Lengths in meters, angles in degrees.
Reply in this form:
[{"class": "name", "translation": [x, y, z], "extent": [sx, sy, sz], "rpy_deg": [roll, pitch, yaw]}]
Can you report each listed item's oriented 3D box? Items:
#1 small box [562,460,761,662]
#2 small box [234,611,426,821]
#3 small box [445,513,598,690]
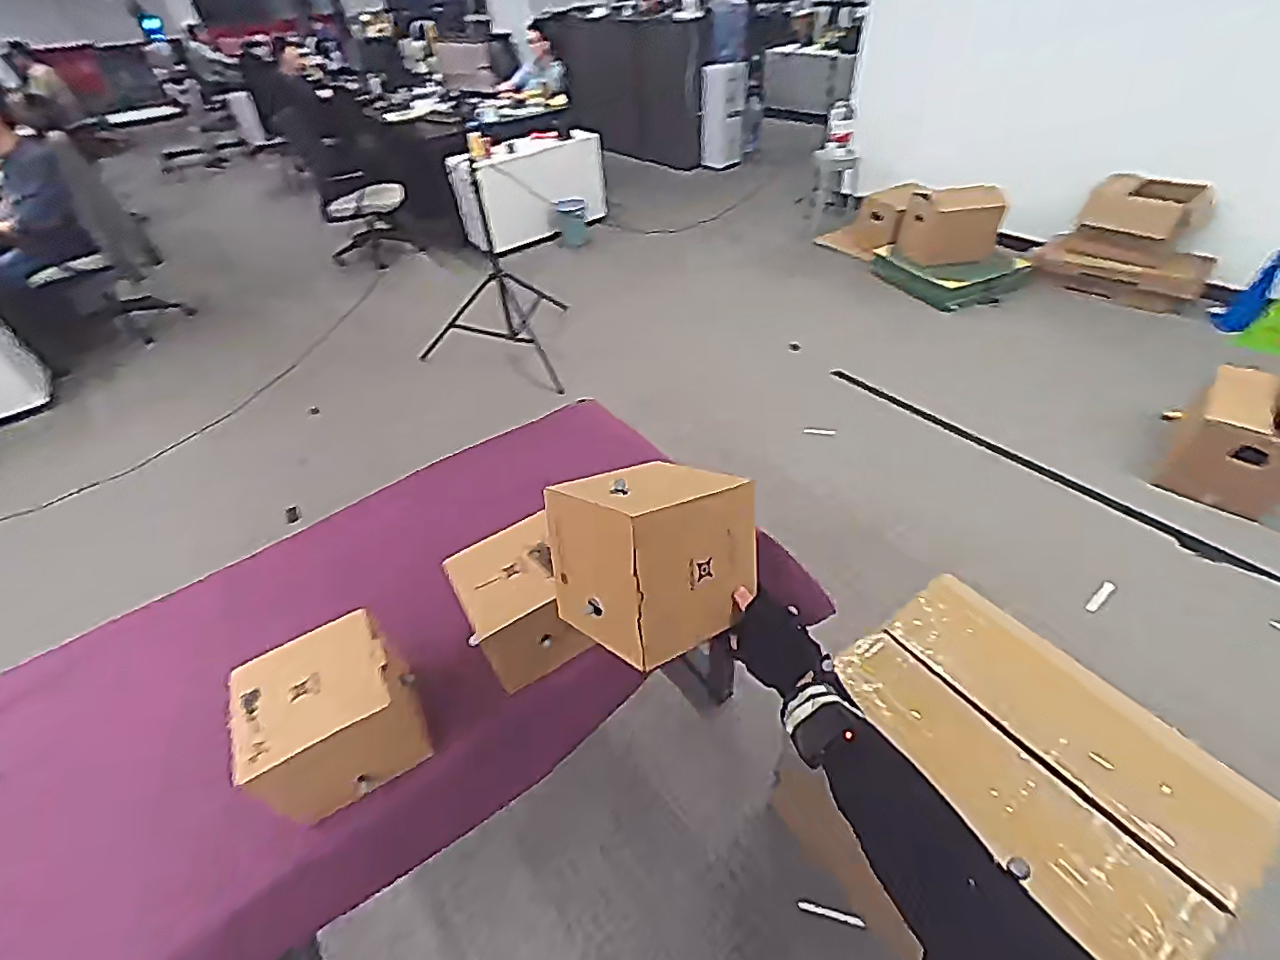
[{"class": "small box", "translation": [0.020, 0.078, 0.632], "extent": [0.179, 0.168, 0.176], "rpy_deg": [-14, 18, -37]}, {"class": "small box", "translation": [-0.412, 0.320, 0.740], "extent": [0.179, 0.176, 0.168], "rpy_deg": [-25, 46, -21]}, {"class": "small box", "translation": [-0.177, 0.190, 0.852], "extent": [0.179, 0.176, 0.168], "rpy_deg": [-27, 47, -20]}]
